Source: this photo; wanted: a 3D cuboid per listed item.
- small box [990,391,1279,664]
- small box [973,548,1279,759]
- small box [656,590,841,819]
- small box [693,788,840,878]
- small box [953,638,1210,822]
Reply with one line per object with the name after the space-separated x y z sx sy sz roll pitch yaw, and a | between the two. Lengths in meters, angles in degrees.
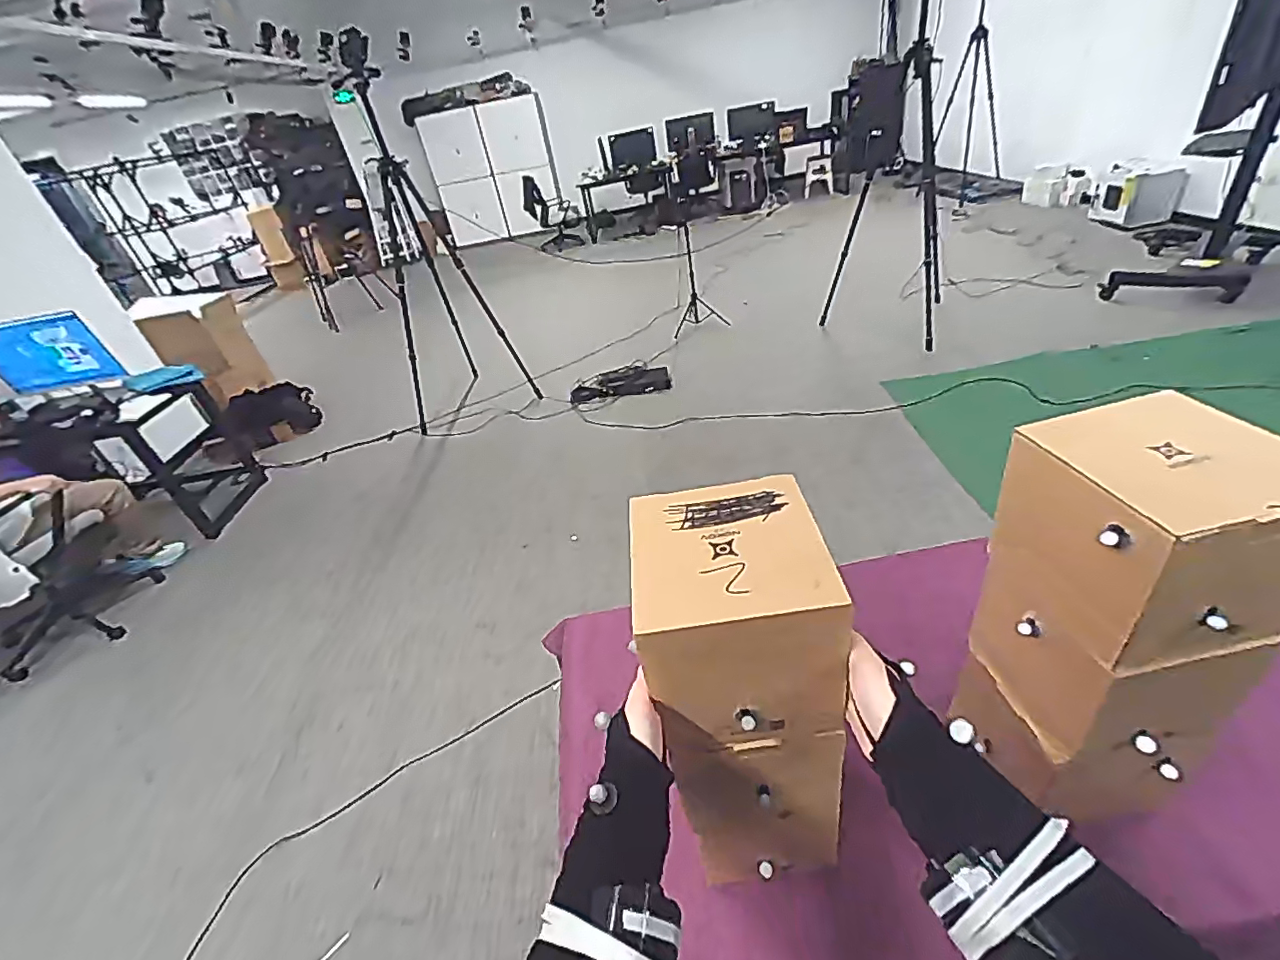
0.476 0.041 0.517 0.168 0.176 0.179 -14 36 -1 | small box
0.509 0.174 0.604 0.168 0.176 0.179 -13 35 1 | small box
0.117 0.256 0.611 0.168 0.176 0.179 -10 36 3 | small box
0.148 0.383 0.711 0.168 0.176 0.179 -11 36 3 | small box
0.540 0.306 0.695 0.179 0.176 0.168 -12 34 1 | small box
